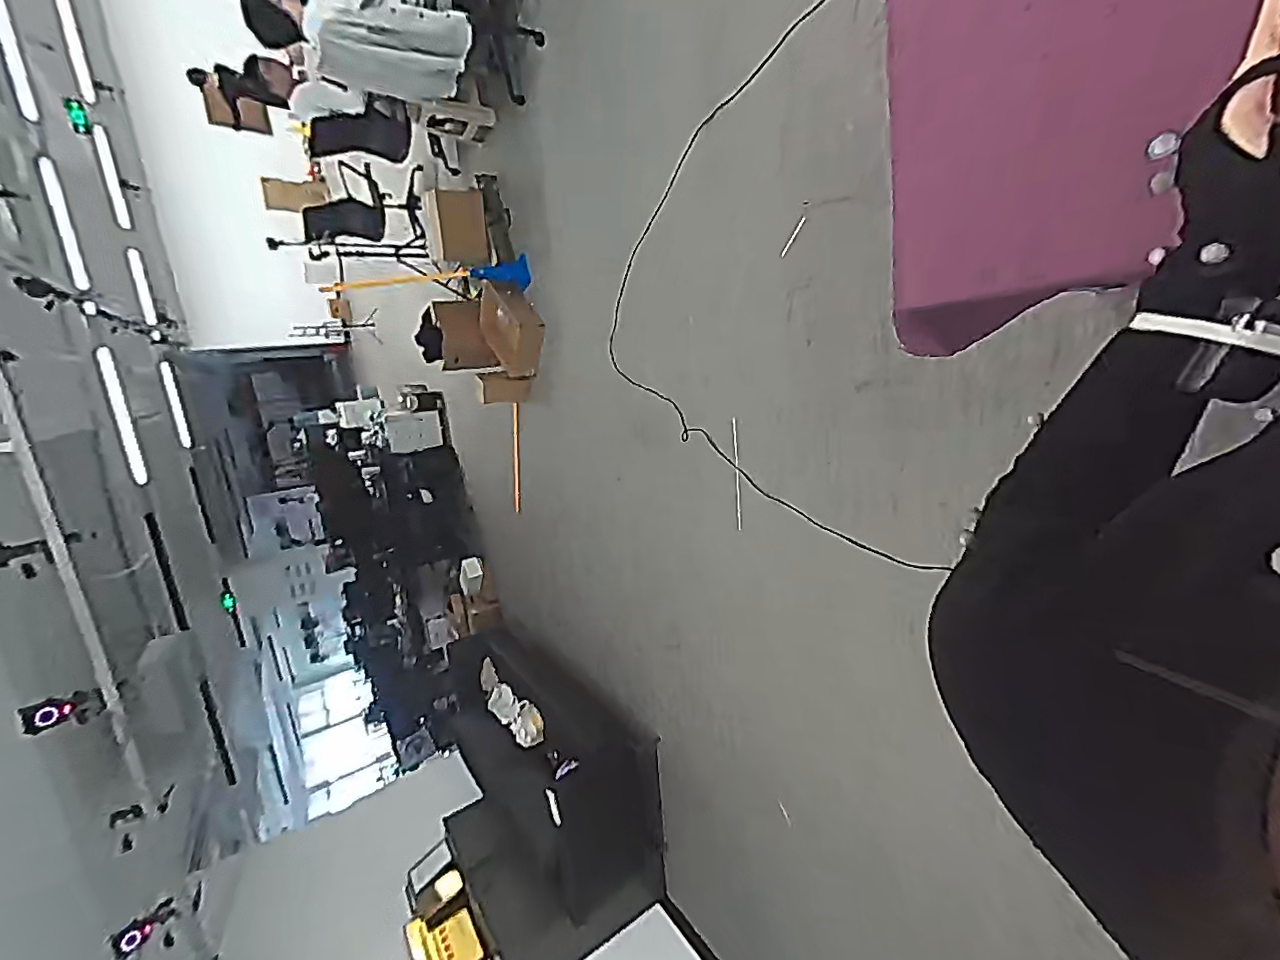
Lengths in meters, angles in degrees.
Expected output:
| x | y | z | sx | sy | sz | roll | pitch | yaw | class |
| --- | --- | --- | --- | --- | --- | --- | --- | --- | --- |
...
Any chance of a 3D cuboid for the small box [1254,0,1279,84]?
| x | y | z | sx | sy | sz | roll | pitch | yaw | class |
| --- | --- | --- | --- | --- | --- | --- | --- | --- | --- |
| 0.416 | -0.343 | 0.237 | 0.179 | 0.168 | 0.176 | 7 | 75 | 45 | small box |
